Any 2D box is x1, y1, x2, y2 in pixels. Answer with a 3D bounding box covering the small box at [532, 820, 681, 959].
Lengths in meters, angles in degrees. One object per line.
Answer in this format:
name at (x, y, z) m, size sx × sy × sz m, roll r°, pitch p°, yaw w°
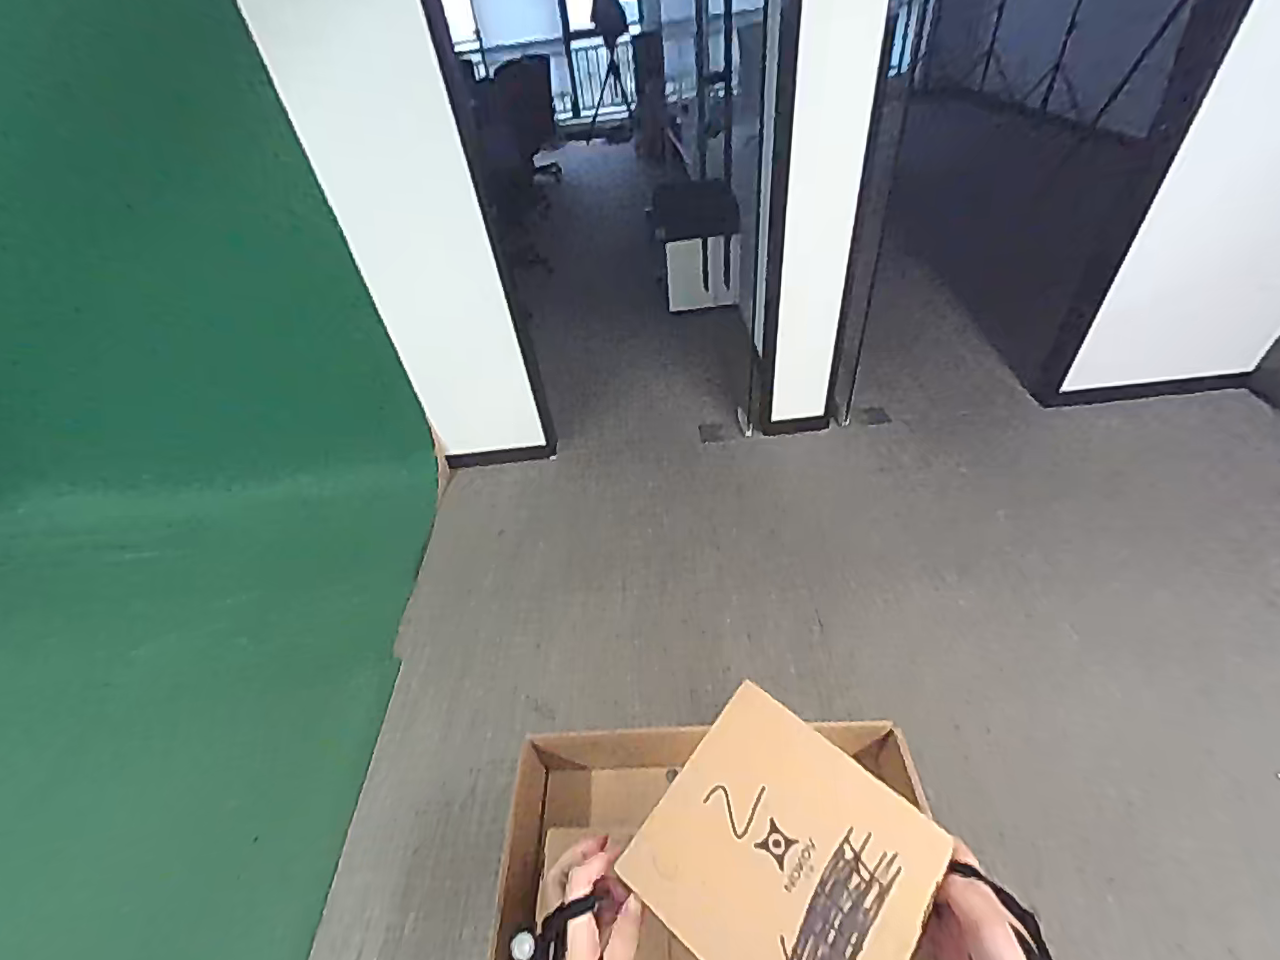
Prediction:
small box at (-0.036, 0.602, 0.768) m, size 0.179 × 0.176 × 0.168 m, roll -4°, pitch 44°, yaw 6°
